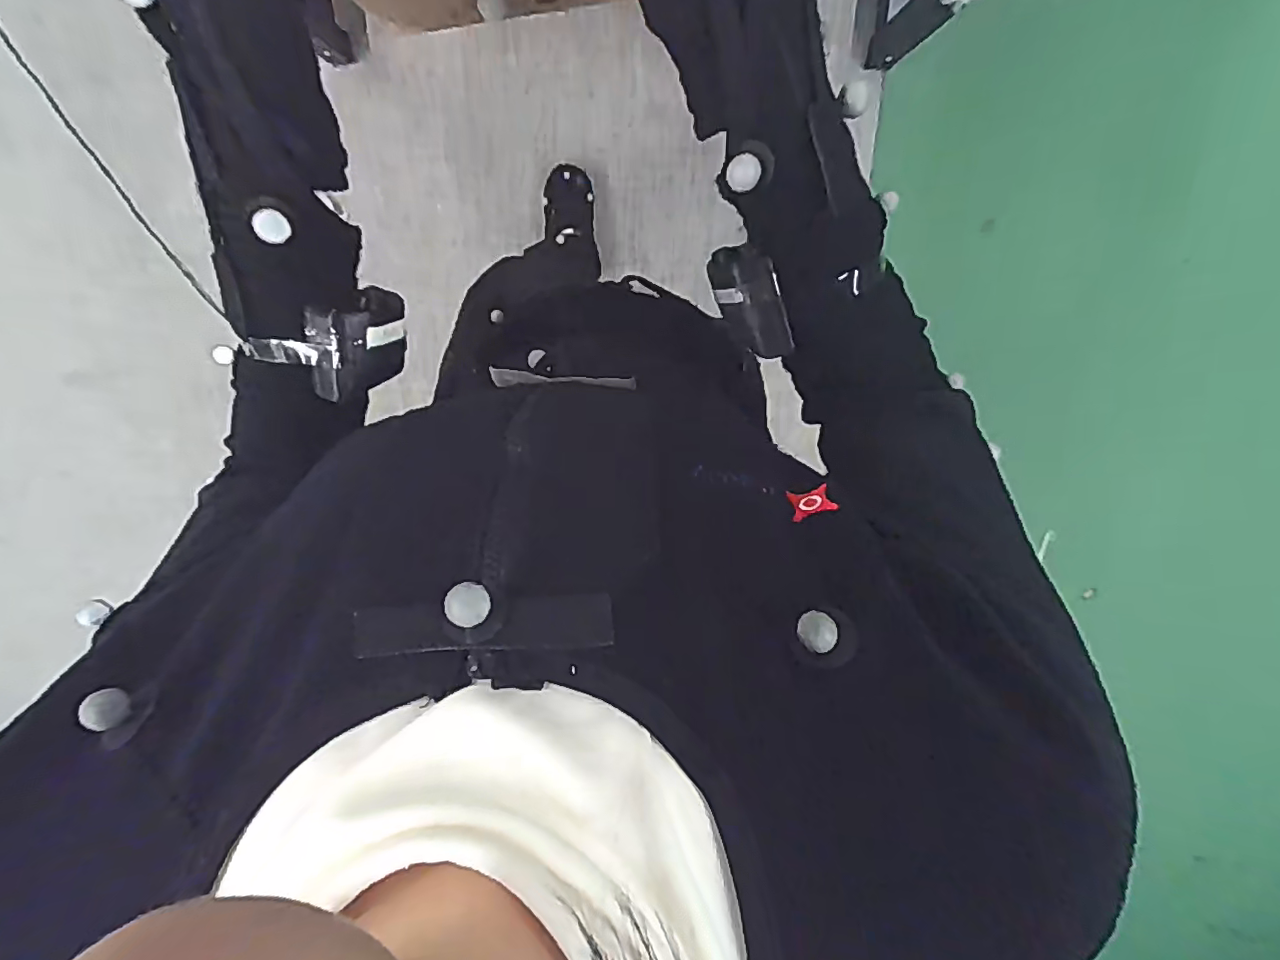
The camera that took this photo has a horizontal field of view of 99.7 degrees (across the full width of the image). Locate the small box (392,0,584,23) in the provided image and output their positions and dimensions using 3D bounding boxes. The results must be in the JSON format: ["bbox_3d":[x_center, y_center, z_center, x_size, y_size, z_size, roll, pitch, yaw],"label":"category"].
[{"bbox_3d":[-0.091,-0.349,0.236,0.168,0.176,0.179,-5,112,5],"label":"small box"}]
